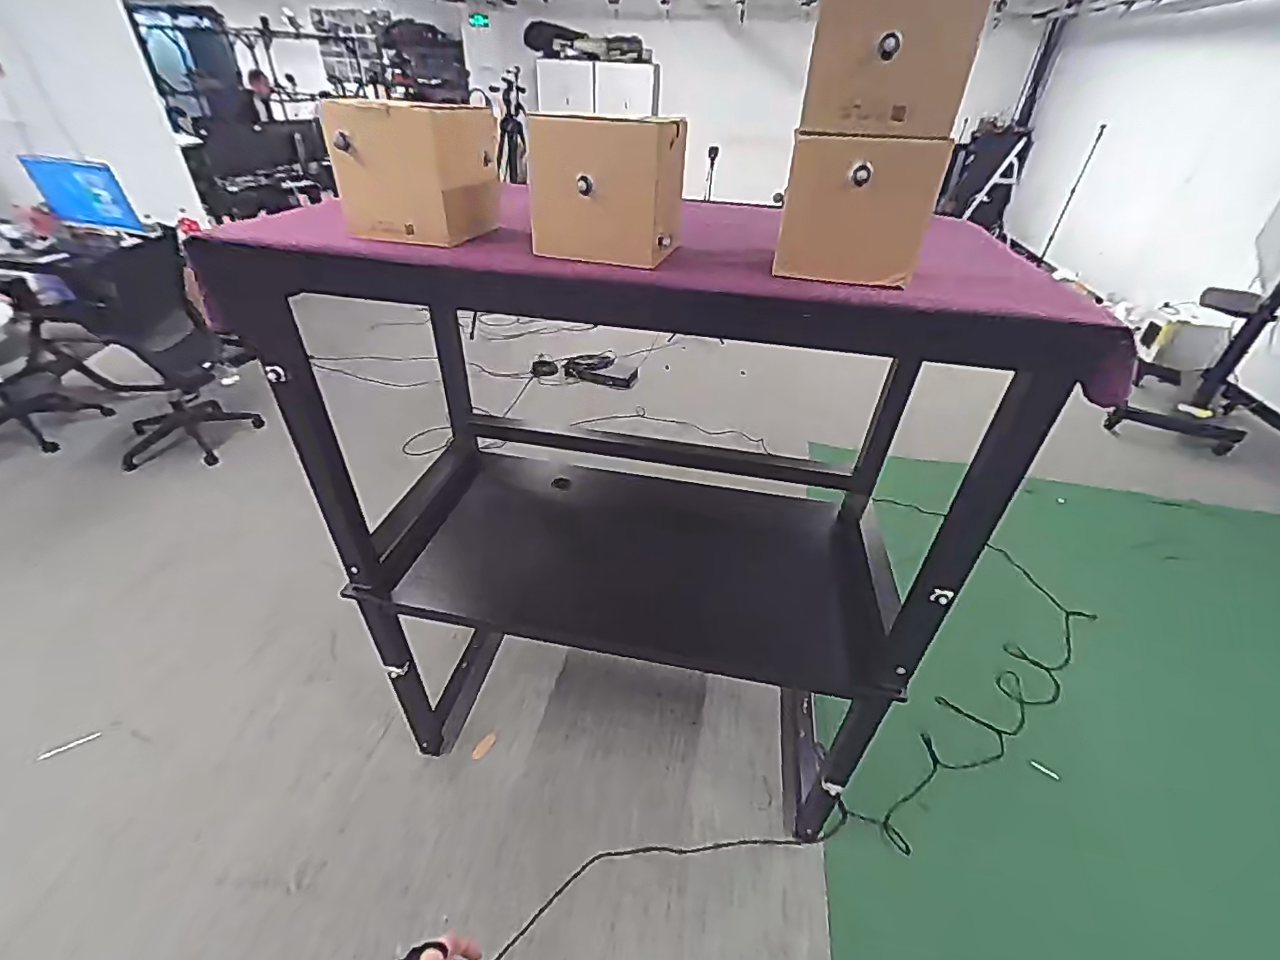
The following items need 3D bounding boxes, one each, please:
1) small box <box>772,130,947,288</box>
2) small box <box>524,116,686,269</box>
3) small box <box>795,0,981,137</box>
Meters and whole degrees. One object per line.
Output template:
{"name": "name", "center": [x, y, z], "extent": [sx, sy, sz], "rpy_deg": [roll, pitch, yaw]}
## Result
{"name": "small box", "center": [0.279, -0.367, 0.727], "extent": [0.179, 0.176, 0.168], "rpy_deg": [10, 36, 11]}
{"name": "small box", "center": [-0.042, -0.406, 0.763], "extent": [0.179, 0.176, 0.168], "rpy_deg": [10, 36, 13]}
{"name": "small box", "center": [0.283, -0.504, 0.638], "extent": [0.168, 0.176, 0.179], "rpy_deg": [10, 37, 11]}
